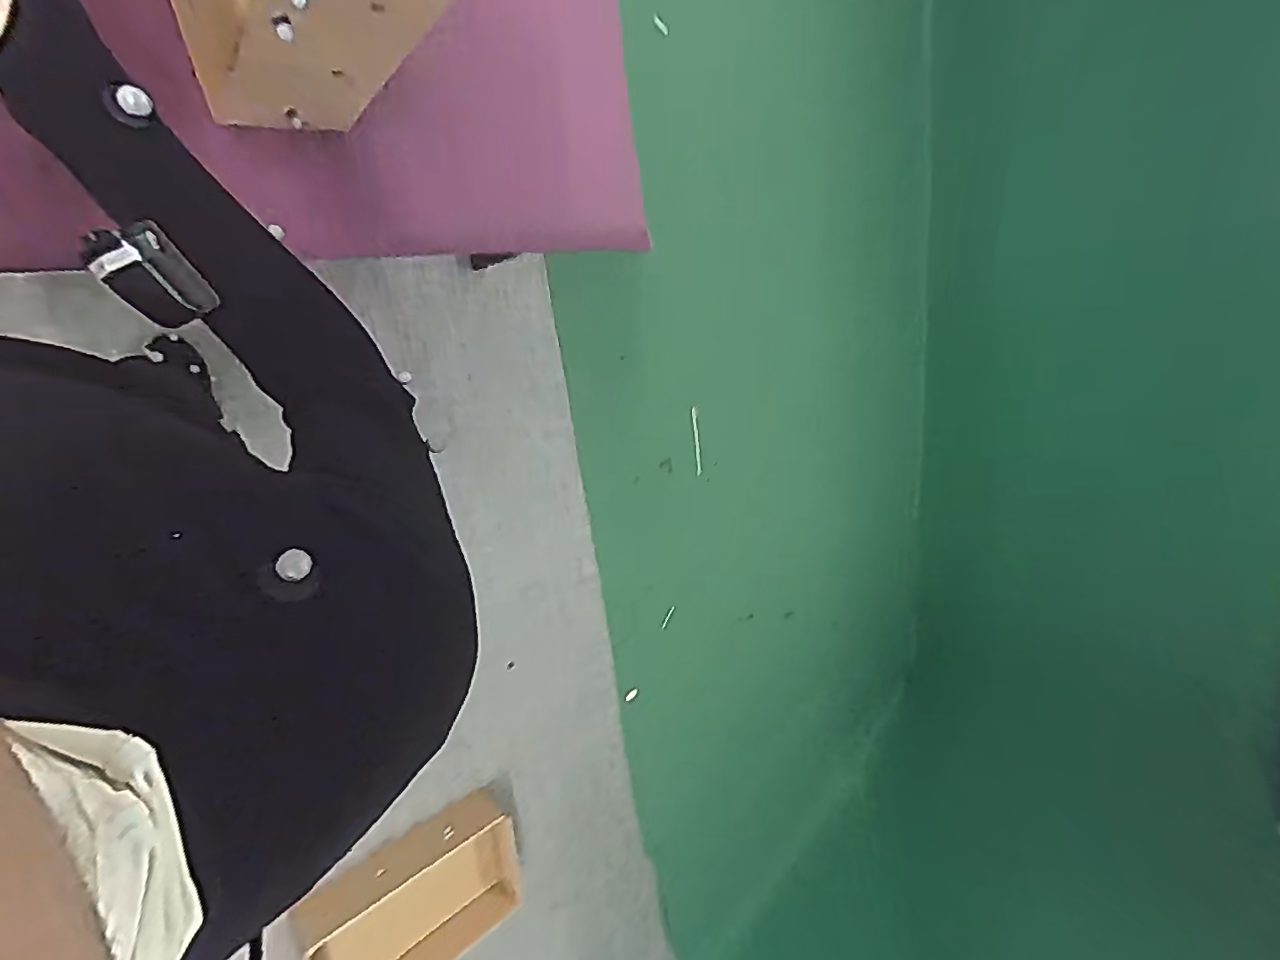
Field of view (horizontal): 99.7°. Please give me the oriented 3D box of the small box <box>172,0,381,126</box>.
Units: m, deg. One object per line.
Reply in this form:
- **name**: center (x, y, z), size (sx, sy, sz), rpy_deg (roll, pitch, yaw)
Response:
- **small box**: center (-0.444, -0.559, 0.649), size (0.168, 0.176, 0.179), rpy_deg (-24, 113, -37)
